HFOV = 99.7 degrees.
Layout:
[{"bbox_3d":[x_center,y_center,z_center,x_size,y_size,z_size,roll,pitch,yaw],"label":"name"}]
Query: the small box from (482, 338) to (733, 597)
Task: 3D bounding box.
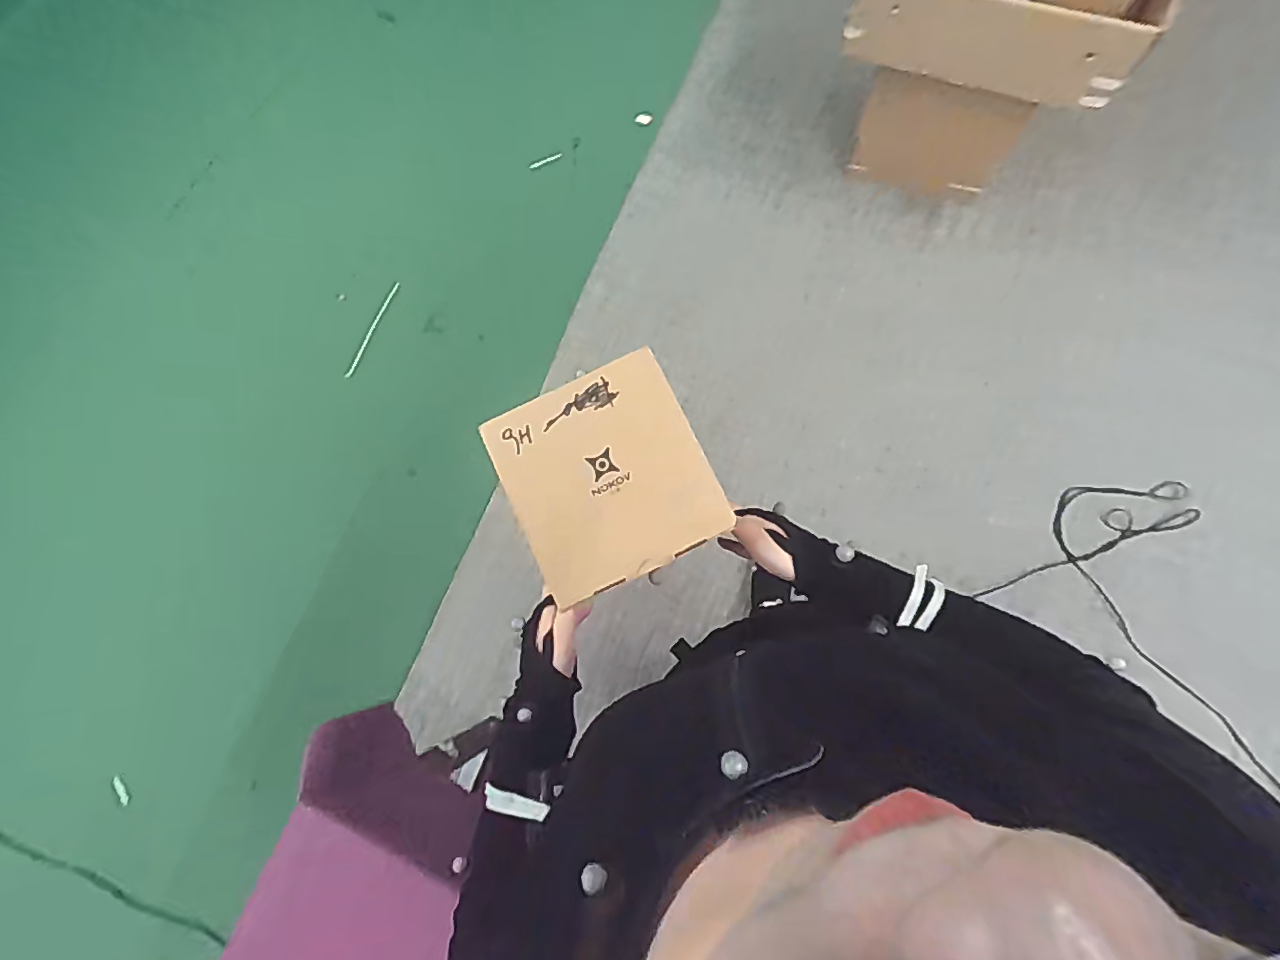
[{"bbox_3d":[-0.024,-0.005,0.532,0.168,0.176,0.179,-24,82,-1],"label":"small box"}]
